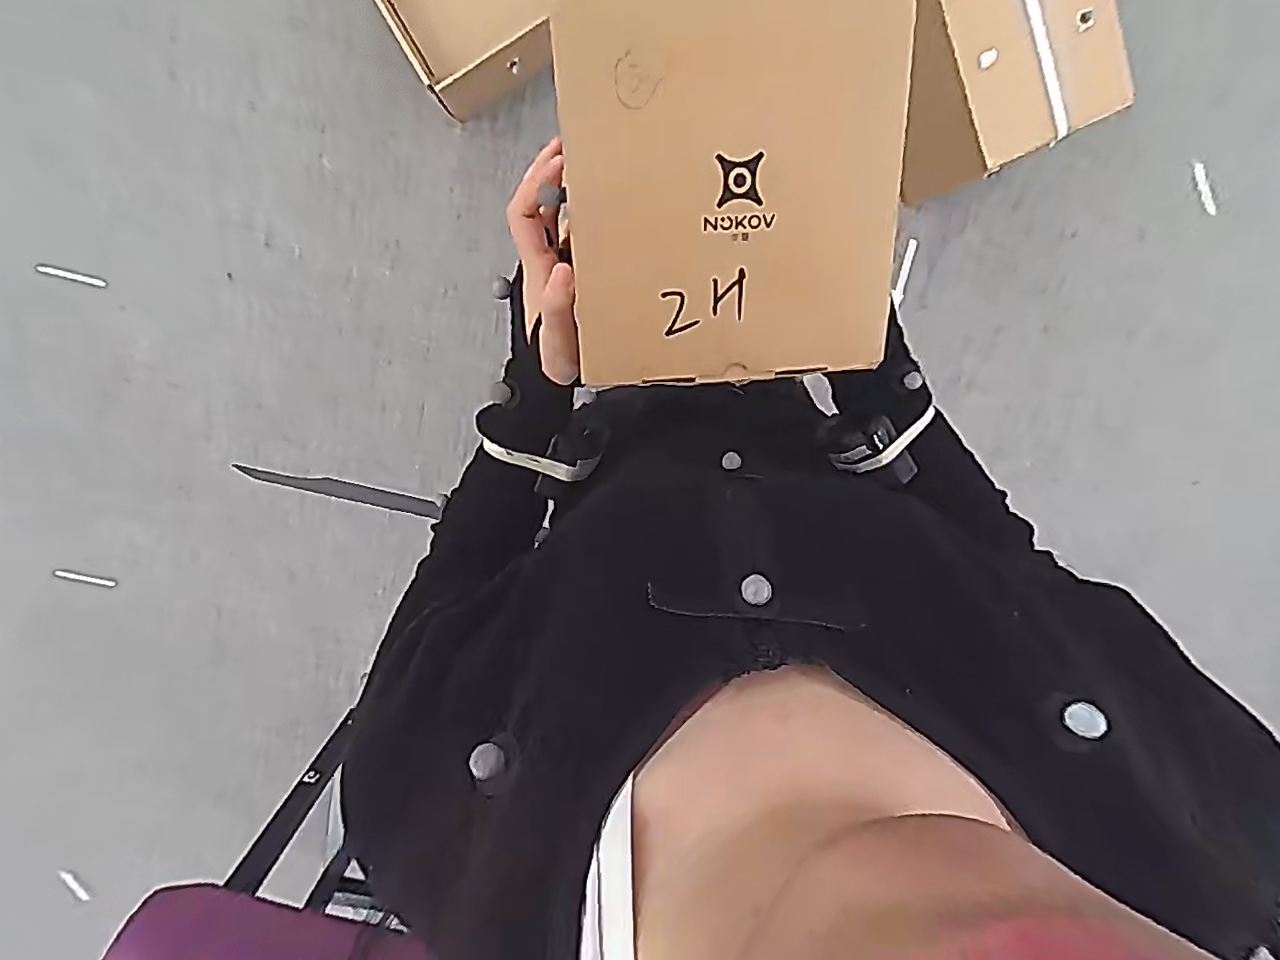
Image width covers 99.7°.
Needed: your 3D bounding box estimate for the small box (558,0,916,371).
[{"bbox_3d":[0.039,-0.170,0.336,0.168,0.176,0.179,-5,110,-4],"label":"small box"}]
